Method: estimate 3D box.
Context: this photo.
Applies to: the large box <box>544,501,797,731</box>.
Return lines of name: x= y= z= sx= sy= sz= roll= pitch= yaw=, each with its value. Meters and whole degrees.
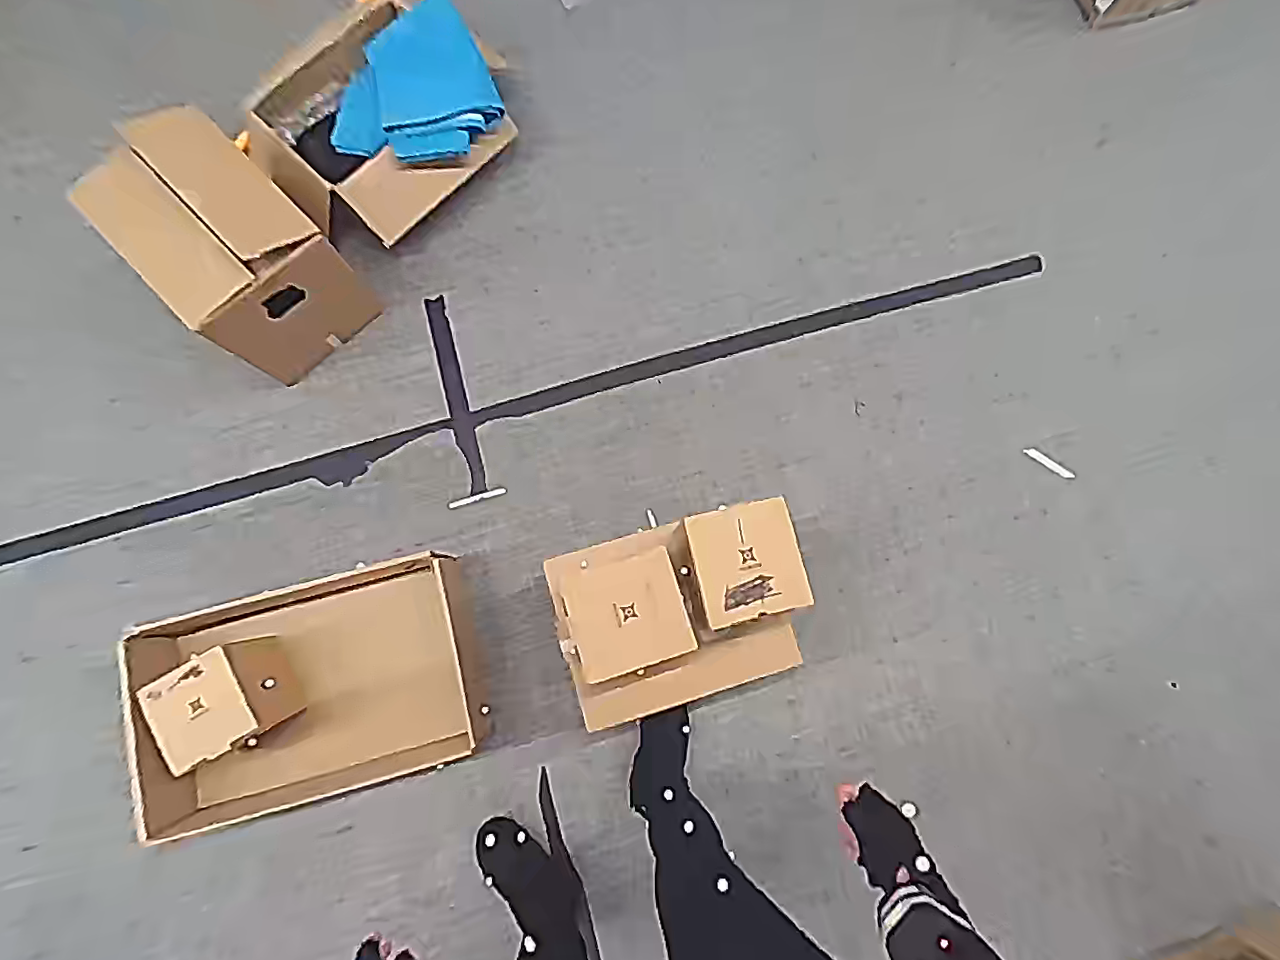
large box: x=0.046 y=0.269 z=1.129 sx=0.408 sy=0.320 sz=0.320 roll=-16 pitch=81 yaw=-7

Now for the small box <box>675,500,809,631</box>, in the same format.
small box: x=0.160 y=0.144 z=0.911 sx=0.168 sy=0.176 sz=0.179 roll=-12 pitch=78 yaw=-5
